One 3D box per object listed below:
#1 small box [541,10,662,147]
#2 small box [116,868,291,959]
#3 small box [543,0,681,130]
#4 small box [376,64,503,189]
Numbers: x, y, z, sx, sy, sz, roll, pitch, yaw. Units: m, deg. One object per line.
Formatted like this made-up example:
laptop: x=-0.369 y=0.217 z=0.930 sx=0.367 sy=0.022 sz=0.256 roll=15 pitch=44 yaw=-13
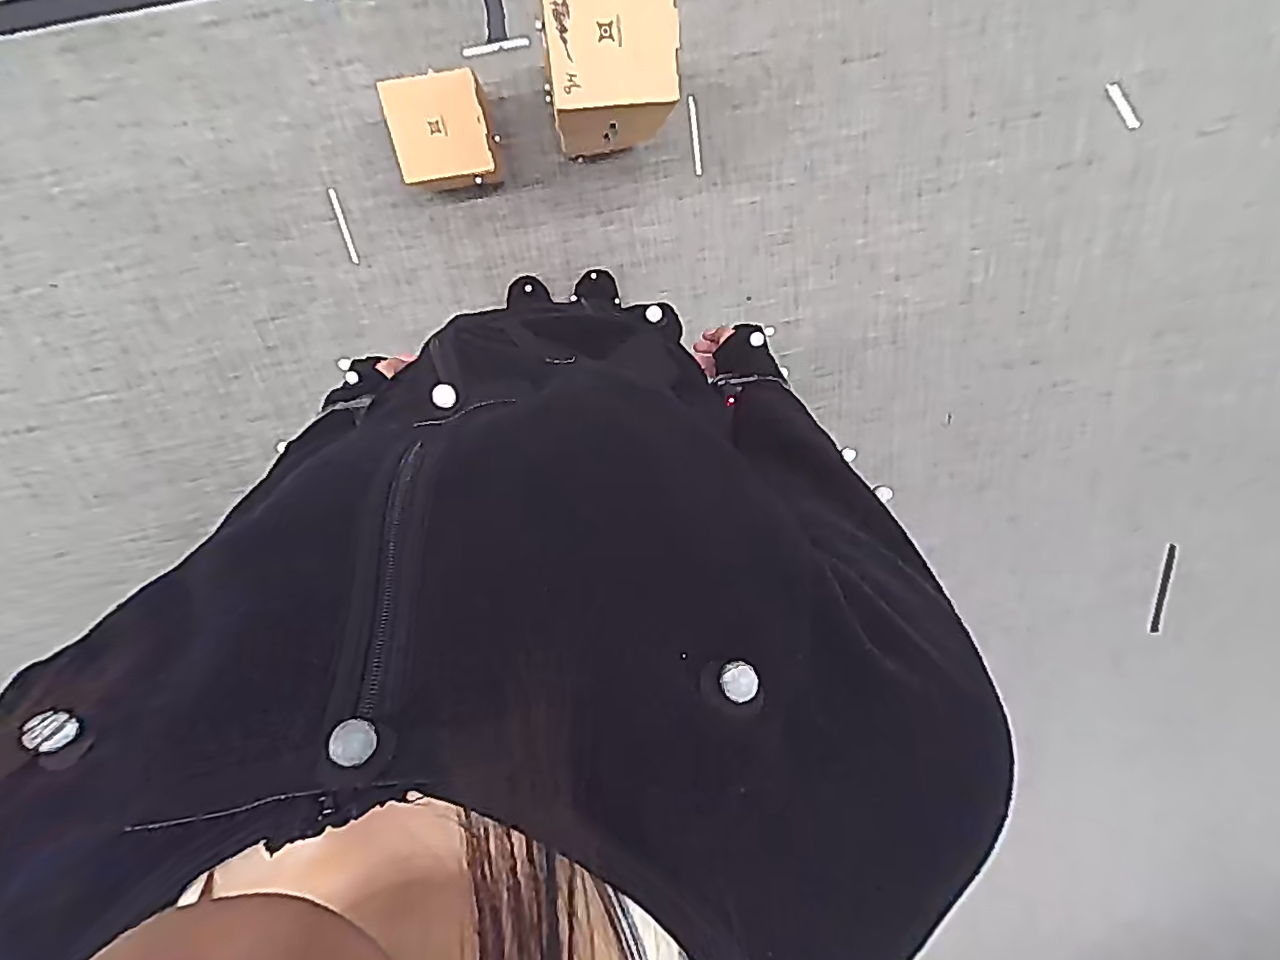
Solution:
small box: x=-0.065 y=-0.688 z=0.931 sx=0.179 sy=0.176 sz=0.168 roll=-10 pitch=115 yaw=-4
small box: x=-0.690 y=0.753 z=0.851 sx=0.179 sy=0.176 sz=0.168 roll=-12 pitch=113 yaw=-1
small box: x=-0.045 y=-0.621 z=0.782 sx=0.179 sy=0.176 sz=0.168 roll=-7 pitch=114 yaw=-5
small box: x=-0.385 y=-0.689 z=1.072 sx=0.179 sy=0.176 sz=0.168 roll=-11 pitch=114 yaw=-3
